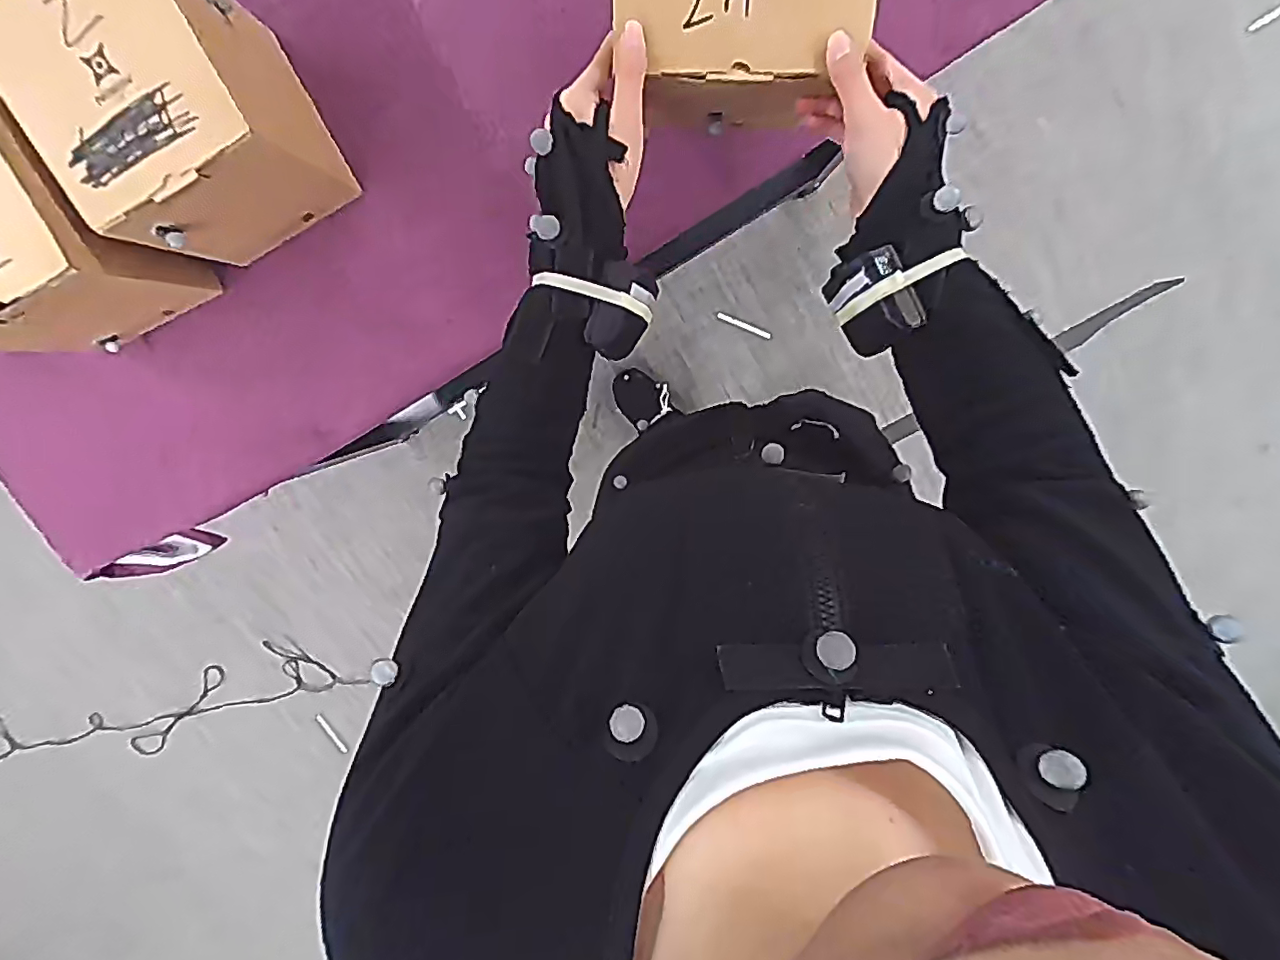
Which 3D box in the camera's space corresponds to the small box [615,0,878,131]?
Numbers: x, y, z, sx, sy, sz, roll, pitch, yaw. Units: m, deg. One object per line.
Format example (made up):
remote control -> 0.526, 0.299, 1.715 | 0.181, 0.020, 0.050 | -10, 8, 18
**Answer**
small box -> 0.066, -0.373, 0.389 | 0.168, 0.176, 0.179 | 1, 113, 0
